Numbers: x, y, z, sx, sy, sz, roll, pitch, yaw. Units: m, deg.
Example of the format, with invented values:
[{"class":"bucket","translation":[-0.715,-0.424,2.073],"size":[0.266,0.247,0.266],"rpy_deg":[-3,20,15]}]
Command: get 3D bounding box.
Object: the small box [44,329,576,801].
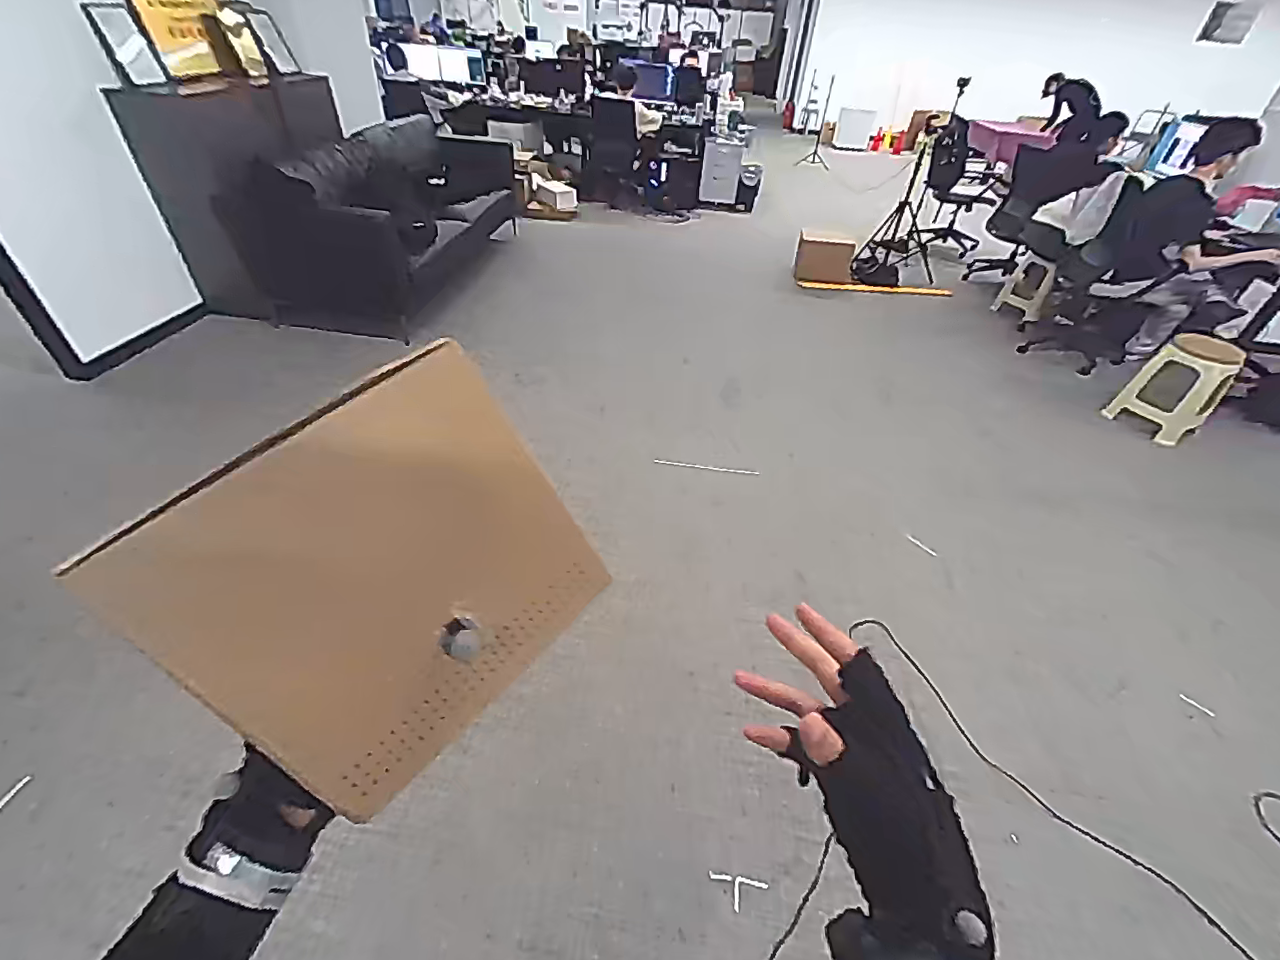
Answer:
[{"class":"small box","translation":[-0.161,0.036,0.322],"size":[0.179,0.176,0.168],"rpy_deg":[-42,26,-26]}]
